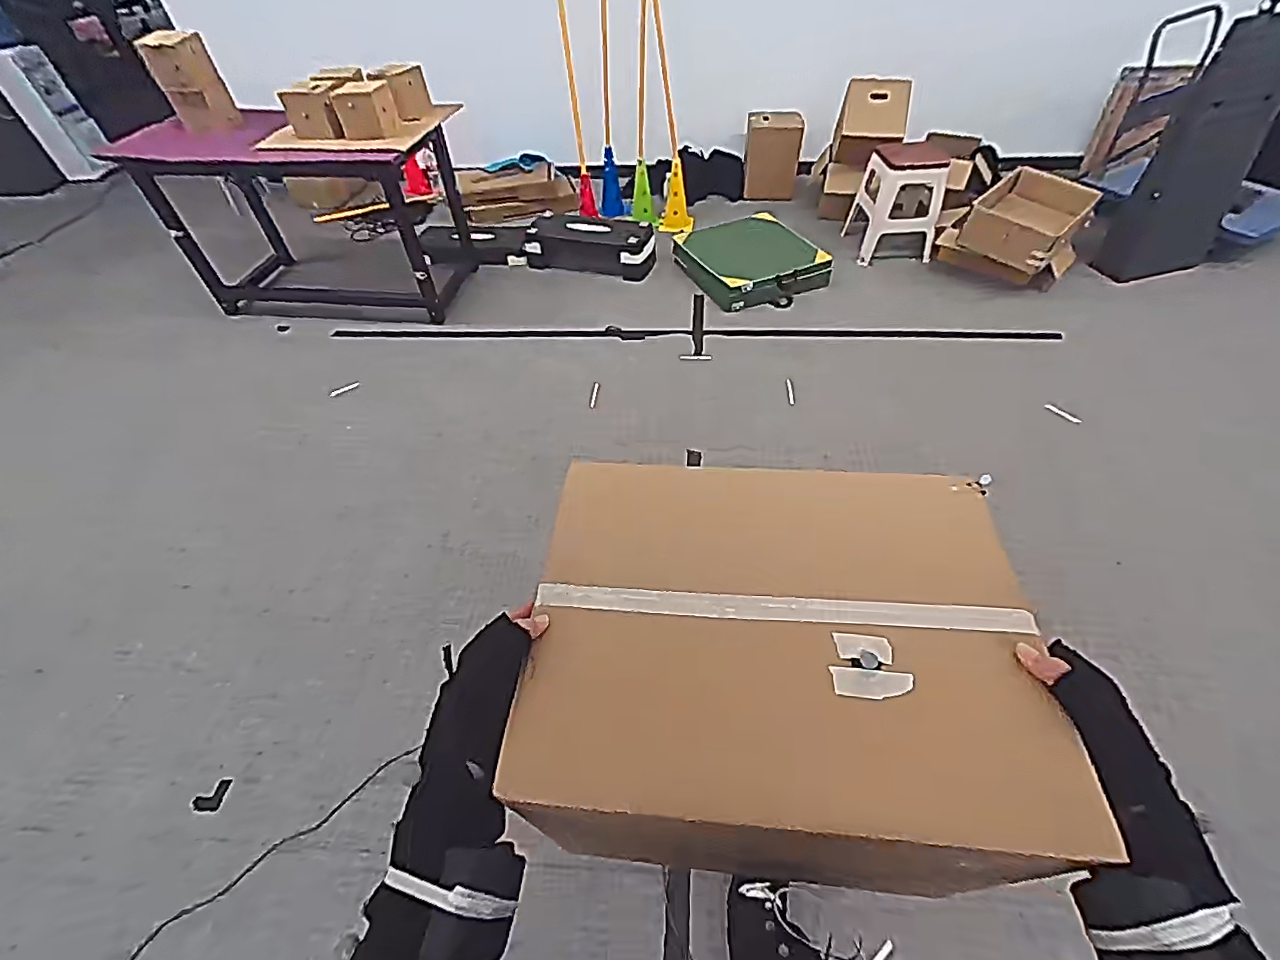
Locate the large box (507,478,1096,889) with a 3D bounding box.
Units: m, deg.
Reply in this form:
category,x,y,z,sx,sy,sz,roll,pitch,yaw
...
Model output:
category,x,y,z,sx,sy,sz,roll,pitch,yaw
large box,0.119,0.215,0.574,0.408,0.320,0.320,2,51,6
